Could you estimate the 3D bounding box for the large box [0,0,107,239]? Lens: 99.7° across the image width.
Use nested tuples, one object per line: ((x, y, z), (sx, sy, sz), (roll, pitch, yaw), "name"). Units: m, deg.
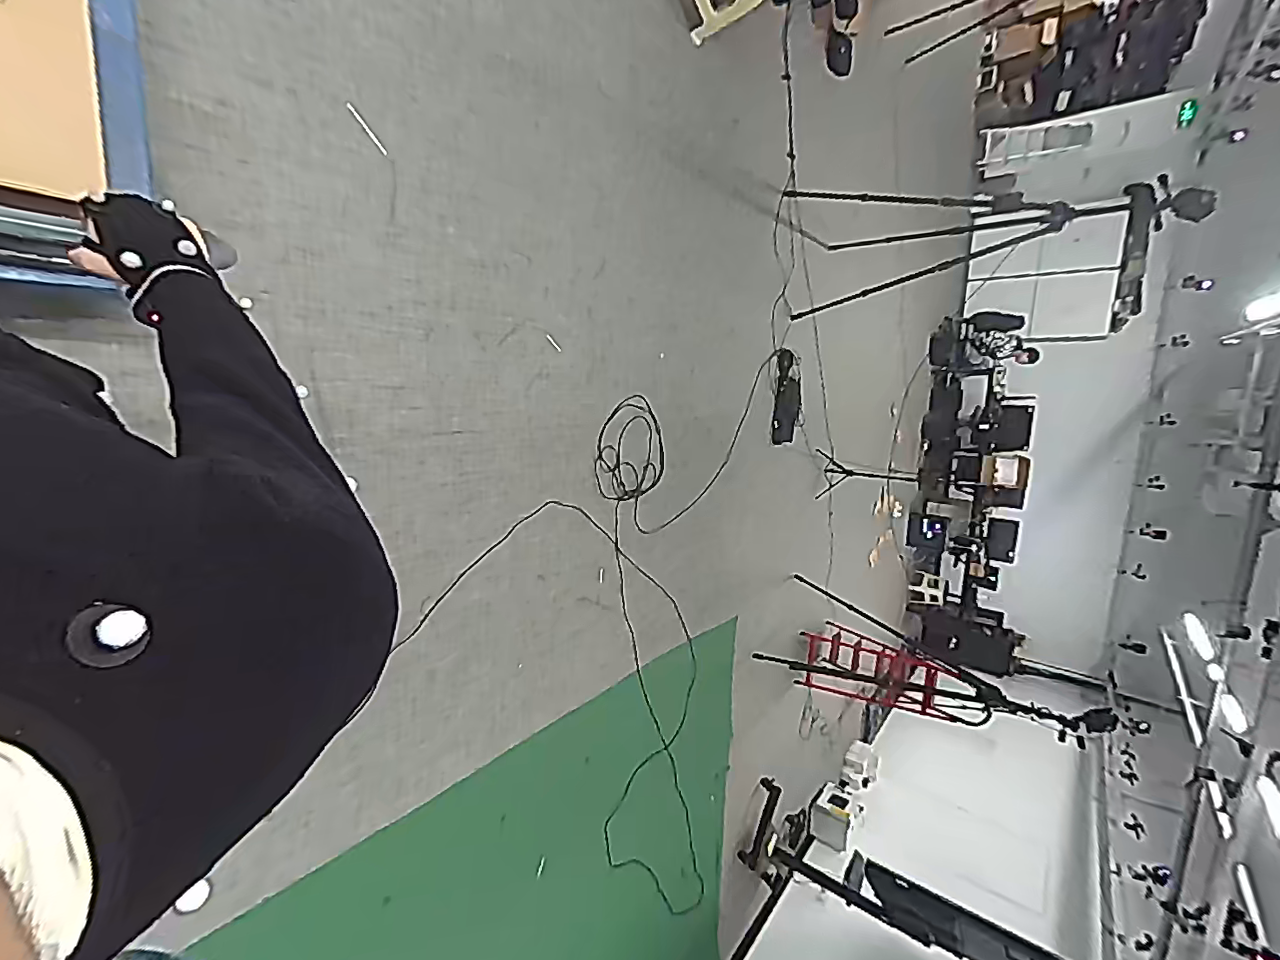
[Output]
((-1.031, -0.611, 0.778), (0.320, 0.320, 0.408), (-10, 103, -51), "large box")
